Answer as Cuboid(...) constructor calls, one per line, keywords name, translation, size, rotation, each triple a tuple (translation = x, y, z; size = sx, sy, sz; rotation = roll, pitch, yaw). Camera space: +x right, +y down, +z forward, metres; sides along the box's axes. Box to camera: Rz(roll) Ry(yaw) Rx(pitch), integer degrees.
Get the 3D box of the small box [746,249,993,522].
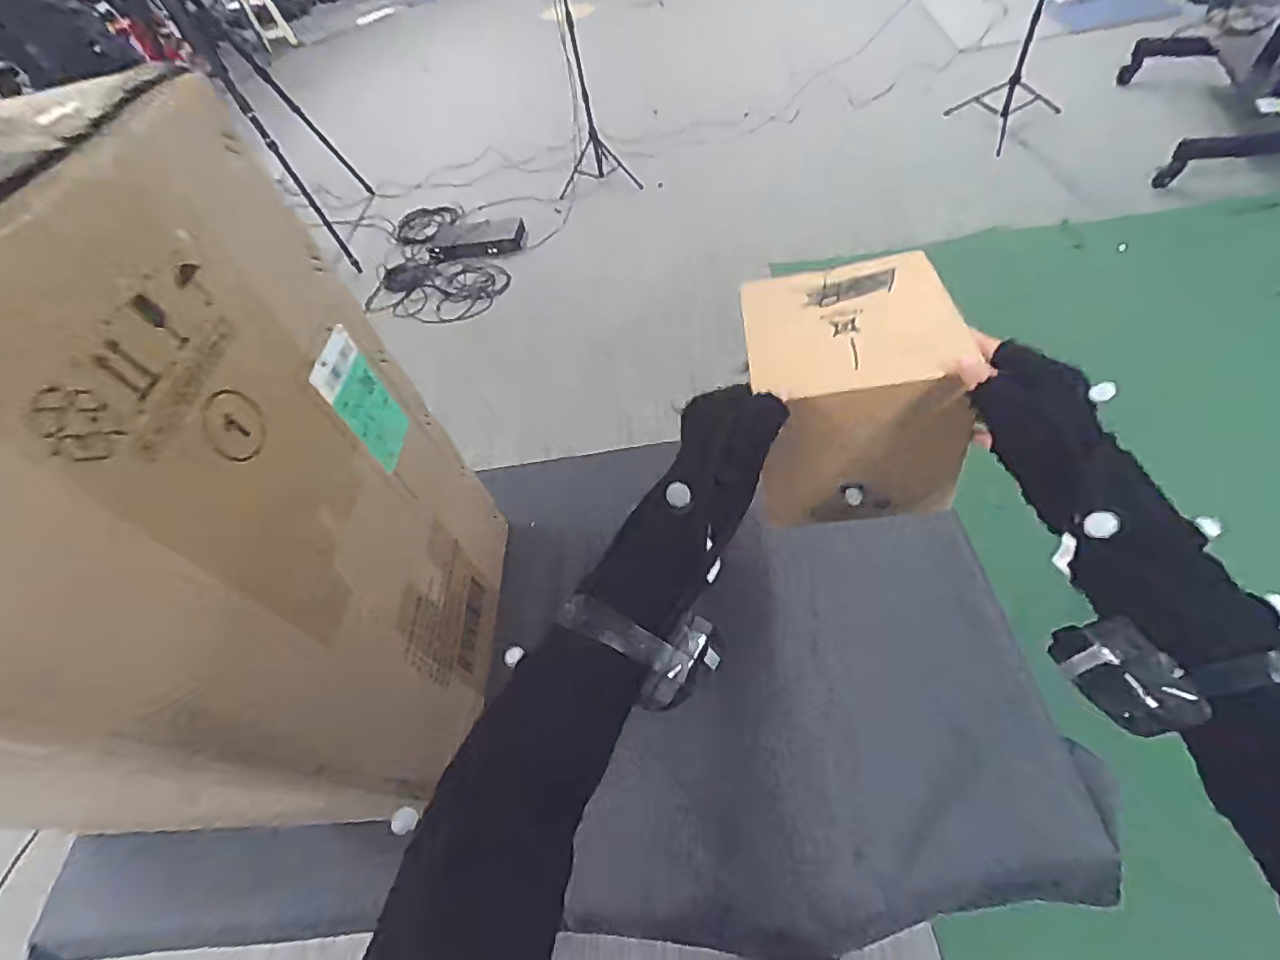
Cuboid(name="small box", translation=(0.192, -0.083, 0.507), size=(0.168, 0.176, 0.179), rotation=(-7, 49, 13))
